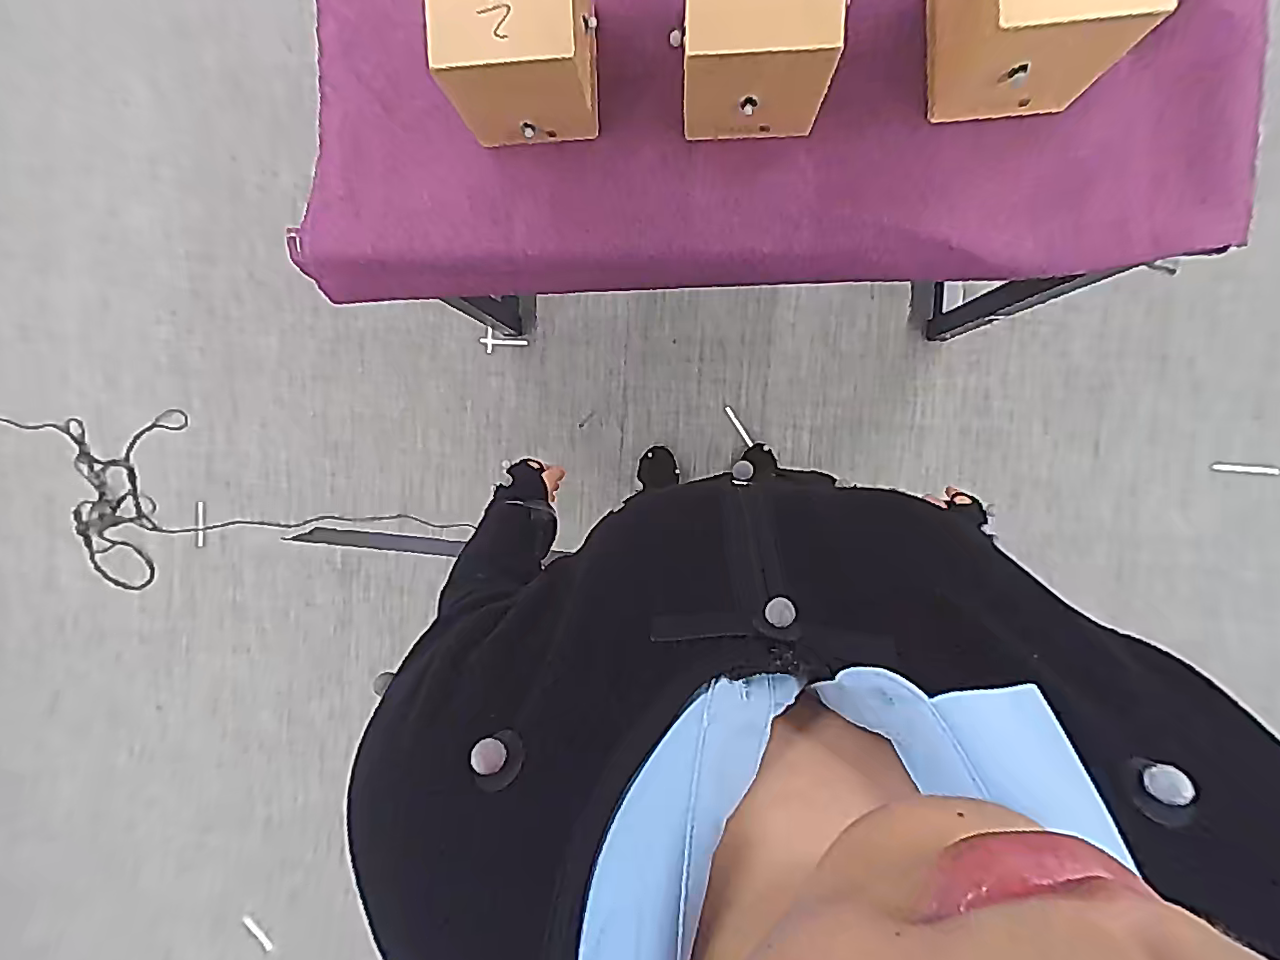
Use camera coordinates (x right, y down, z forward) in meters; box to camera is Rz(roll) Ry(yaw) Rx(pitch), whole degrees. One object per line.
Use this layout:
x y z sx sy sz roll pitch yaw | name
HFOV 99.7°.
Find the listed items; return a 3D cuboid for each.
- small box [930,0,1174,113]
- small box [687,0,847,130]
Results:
0.449 -0.550 0.613 0.168 0.176 0.179 -2 93 6 | small box
0.141 -0.544 0.640 0.168 0.176 0.179 1 94 4 | small box
